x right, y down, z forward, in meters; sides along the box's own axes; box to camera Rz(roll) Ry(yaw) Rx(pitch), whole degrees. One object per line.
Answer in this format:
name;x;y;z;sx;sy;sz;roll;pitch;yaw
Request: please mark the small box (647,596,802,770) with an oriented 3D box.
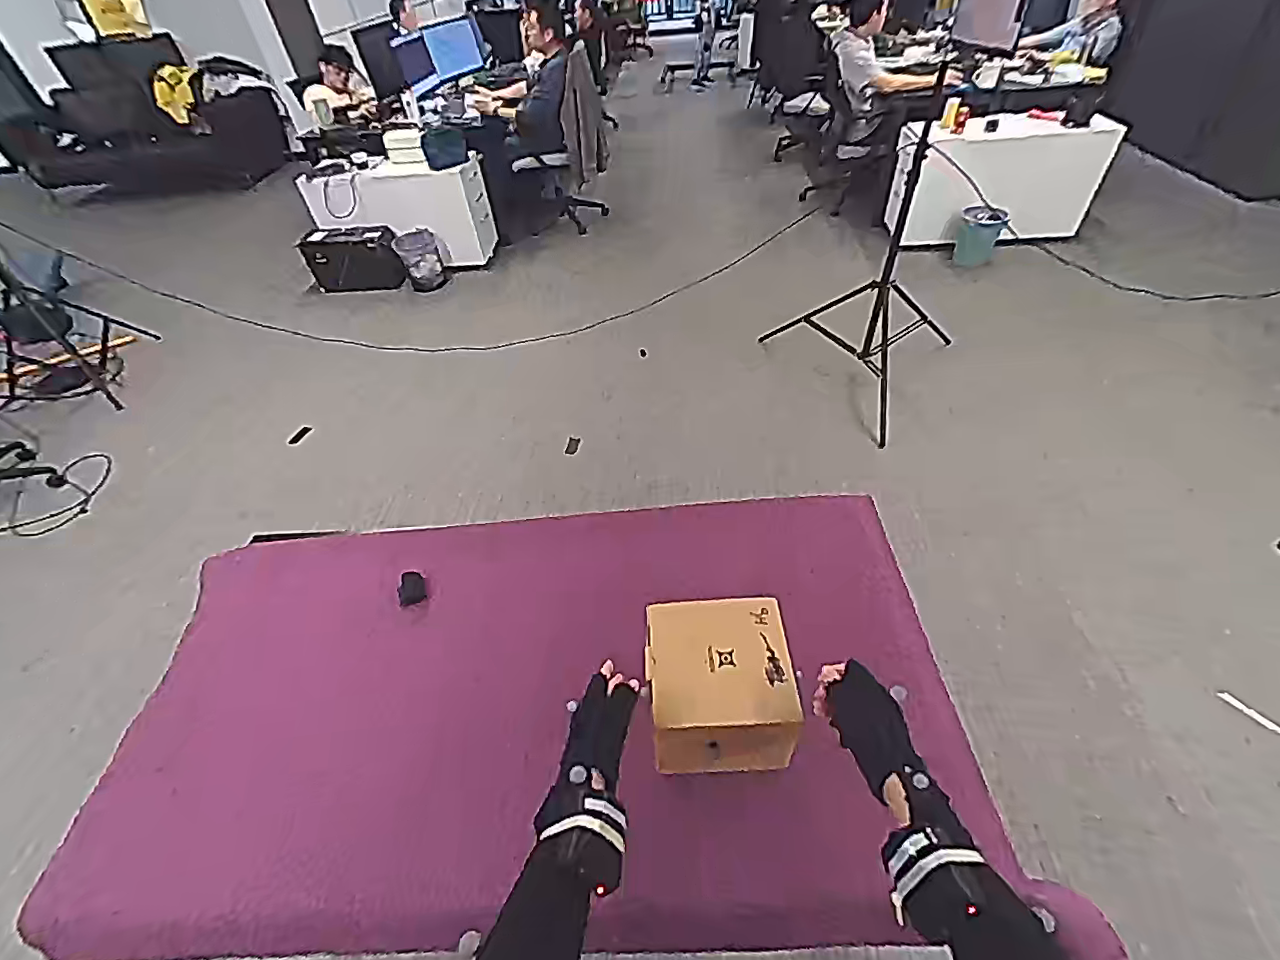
small box;0.106;0.276;0.726;0.179;0.176;0.168;-5;45;3
